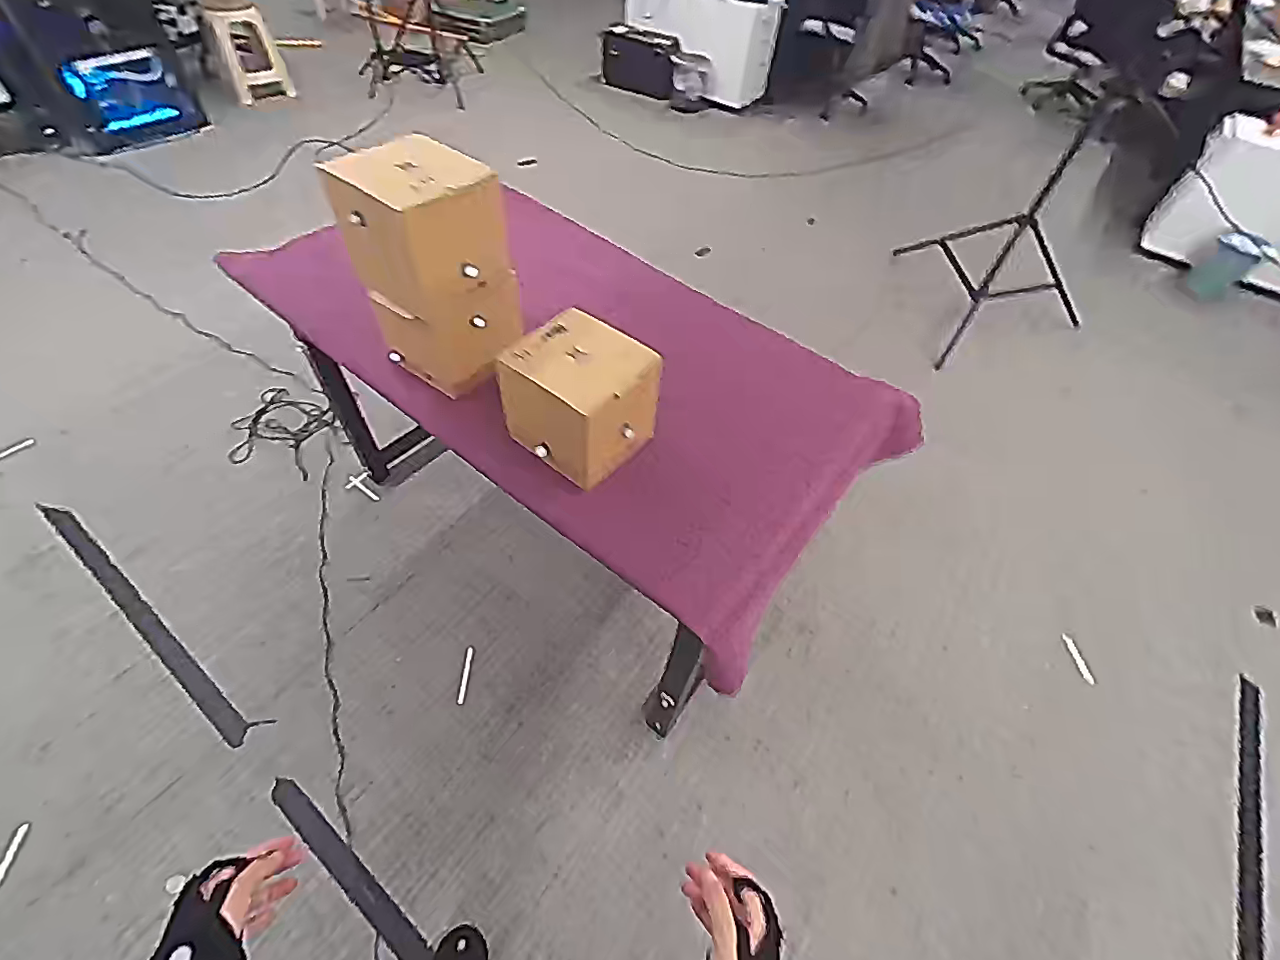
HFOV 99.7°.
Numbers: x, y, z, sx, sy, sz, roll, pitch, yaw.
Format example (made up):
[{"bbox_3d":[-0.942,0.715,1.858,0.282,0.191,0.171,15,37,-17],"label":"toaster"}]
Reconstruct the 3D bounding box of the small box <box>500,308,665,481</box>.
[{"bbox_3d":[-0.085,-0.124,0.829,0.179,0.176,0.168,35,57,19],"label":"small box"}]

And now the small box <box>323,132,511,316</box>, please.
[{"bbox_3d":[-0.310,-0.369,0.786,0.179,0.176,0.168,34,57,19],"label":"small box"}]

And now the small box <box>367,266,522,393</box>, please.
[{"bbox_3d":[-0.318,-0.280,0.925,0.168,0.176,0.179,32,55,17],"label":"small box"}]
